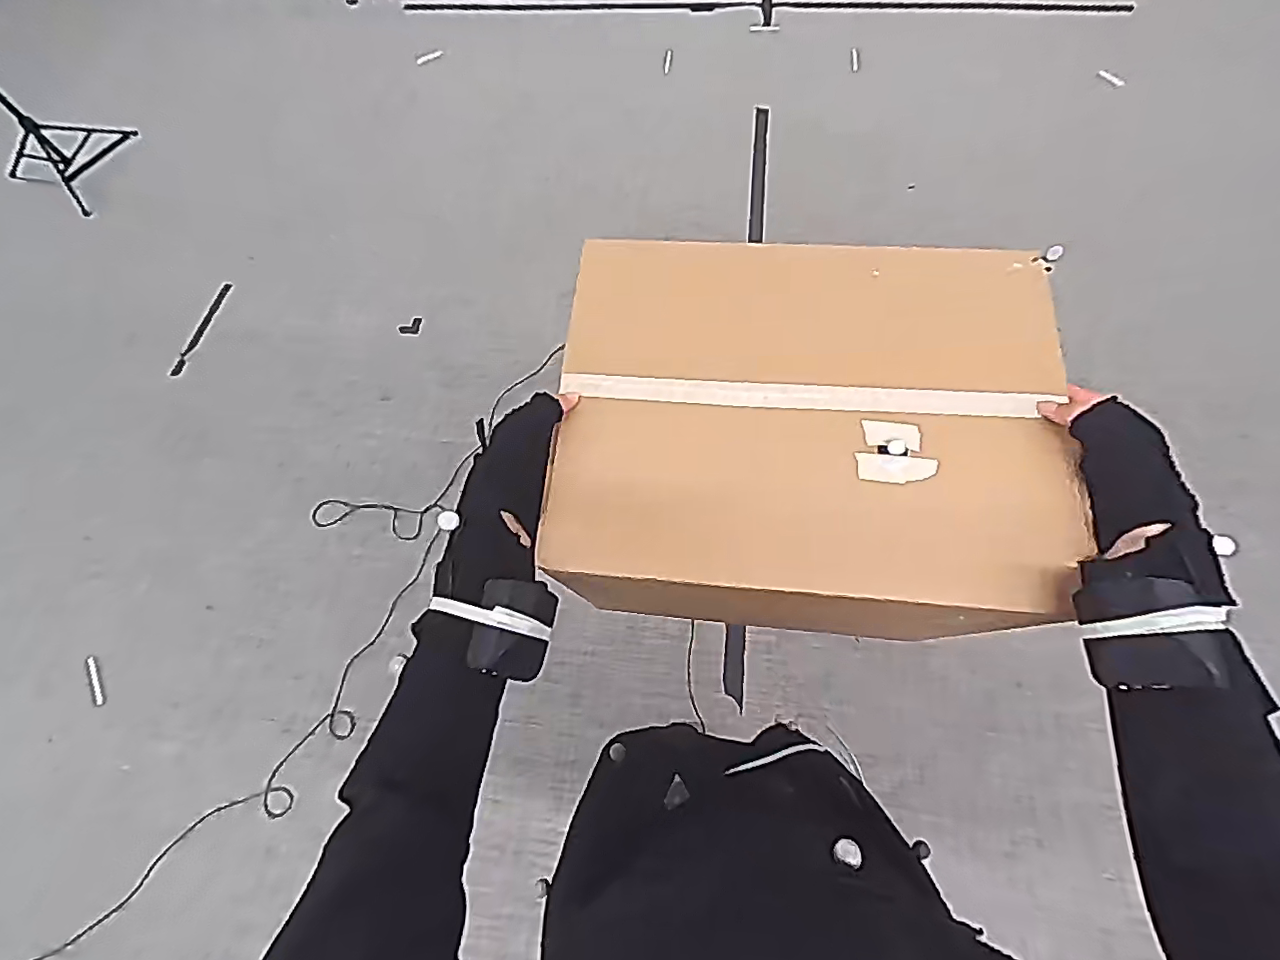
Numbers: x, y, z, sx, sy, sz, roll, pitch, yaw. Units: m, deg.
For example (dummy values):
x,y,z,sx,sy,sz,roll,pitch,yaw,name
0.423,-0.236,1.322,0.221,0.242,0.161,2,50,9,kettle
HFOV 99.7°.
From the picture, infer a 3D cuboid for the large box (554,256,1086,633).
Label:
x,y,z,sx,sy,sz,roll,pitch,yaw,name
0.147,-0.012,0.594,0.408,0.320,0.320,4,72,5,large box
